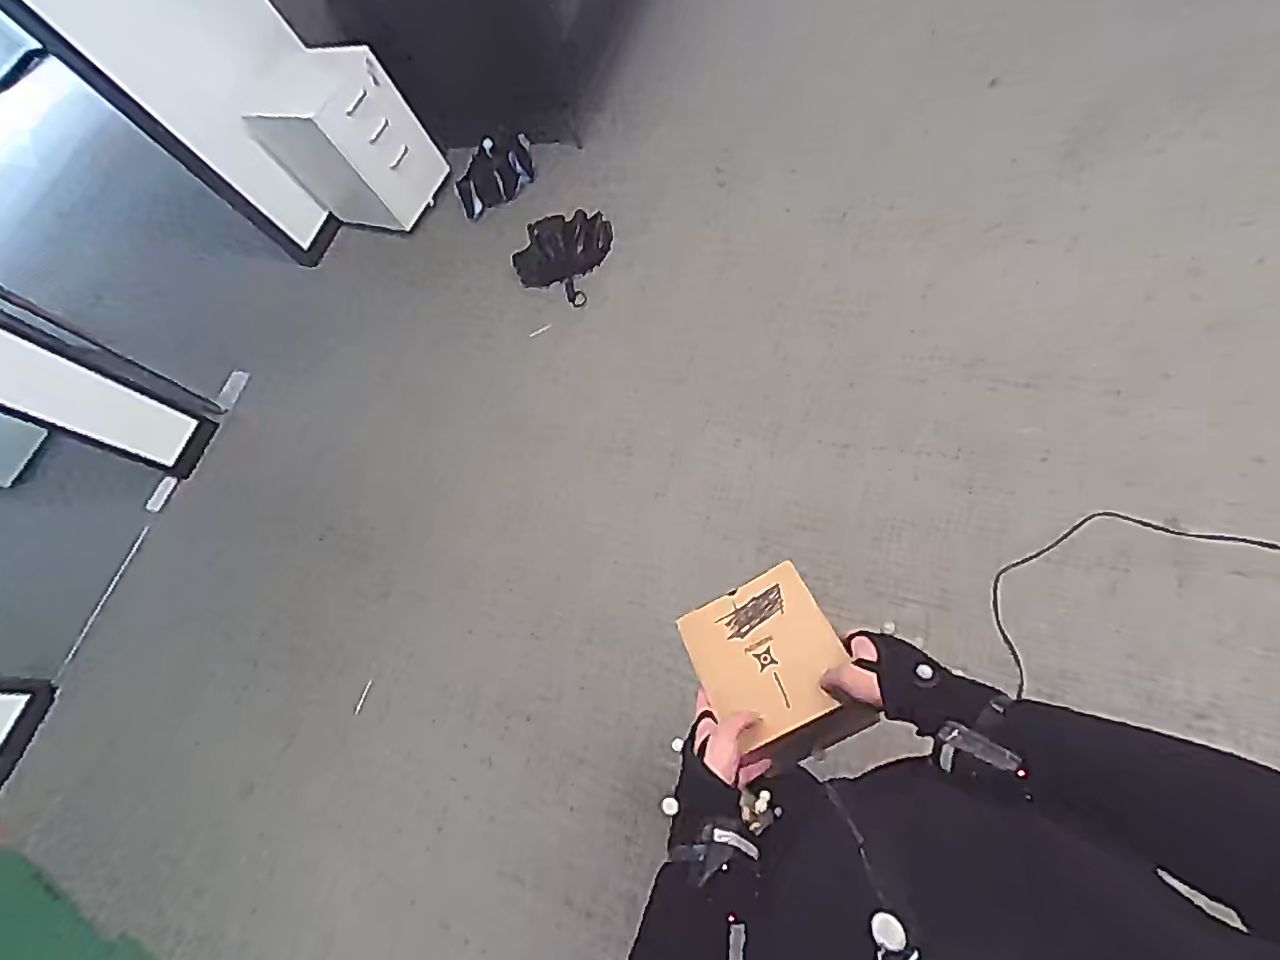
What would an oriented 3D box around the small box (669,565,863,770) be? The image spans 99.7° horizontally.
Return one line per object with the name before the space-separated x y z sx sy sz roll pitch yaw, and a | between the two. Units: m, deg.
small box | 0.164 0.246 0.697 0.168 0.176 0.179 -30 50 8
